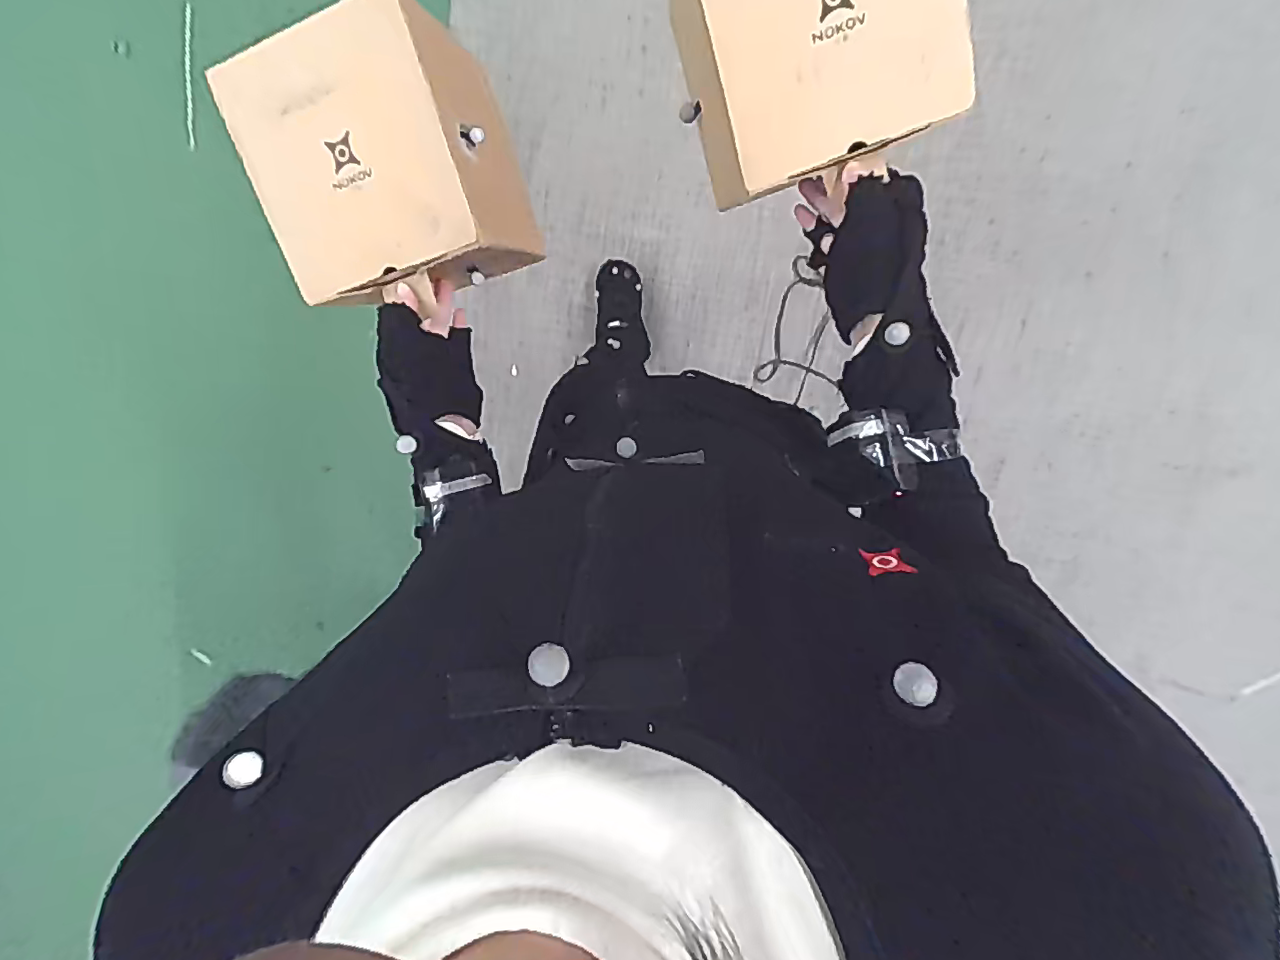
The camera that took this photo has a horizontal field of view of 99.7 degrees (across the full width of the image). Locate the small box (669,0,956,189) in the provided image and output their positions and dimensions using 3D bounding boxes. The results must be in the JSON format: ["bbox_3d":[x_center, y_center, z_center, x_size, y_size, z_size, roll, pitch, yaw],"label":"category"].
[{"bbox_3d":[0.125,-0.352,0.436,0.168,0.176,0.179,-16,113,8],"label":"small box"}]

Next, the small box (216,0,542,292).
[{"bbox_3d":[-0.208,-0.280,0.486,0.168,0.176,0.179,-12,106,14],"label":"small box"}]
